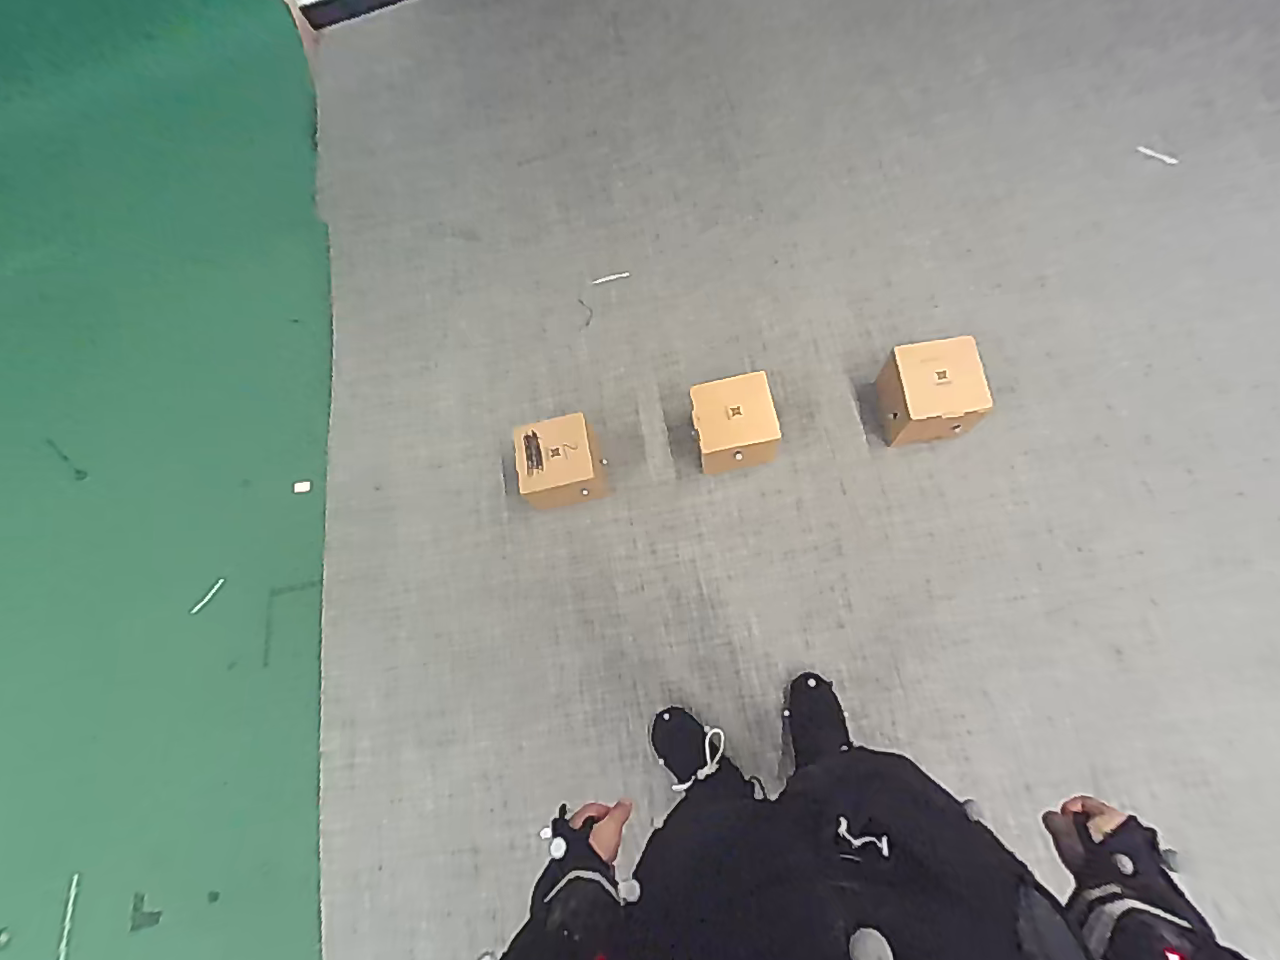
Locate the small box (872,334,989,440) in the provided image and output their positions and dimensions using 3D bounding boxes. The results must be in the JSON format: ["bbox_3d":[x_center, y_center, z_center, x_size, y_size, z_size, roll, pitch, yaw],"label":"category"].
[{"bbox_3d":[0.637,-0.197,1.208,0.168,0.176,0.179,-7,72,6],"label":"small box"}]

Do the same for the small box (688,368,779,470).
[{"bbox_3d":[0.214,-0.136,1.259,0.179,0.176,0.168,-11,73,6],"label":"small box"}]
